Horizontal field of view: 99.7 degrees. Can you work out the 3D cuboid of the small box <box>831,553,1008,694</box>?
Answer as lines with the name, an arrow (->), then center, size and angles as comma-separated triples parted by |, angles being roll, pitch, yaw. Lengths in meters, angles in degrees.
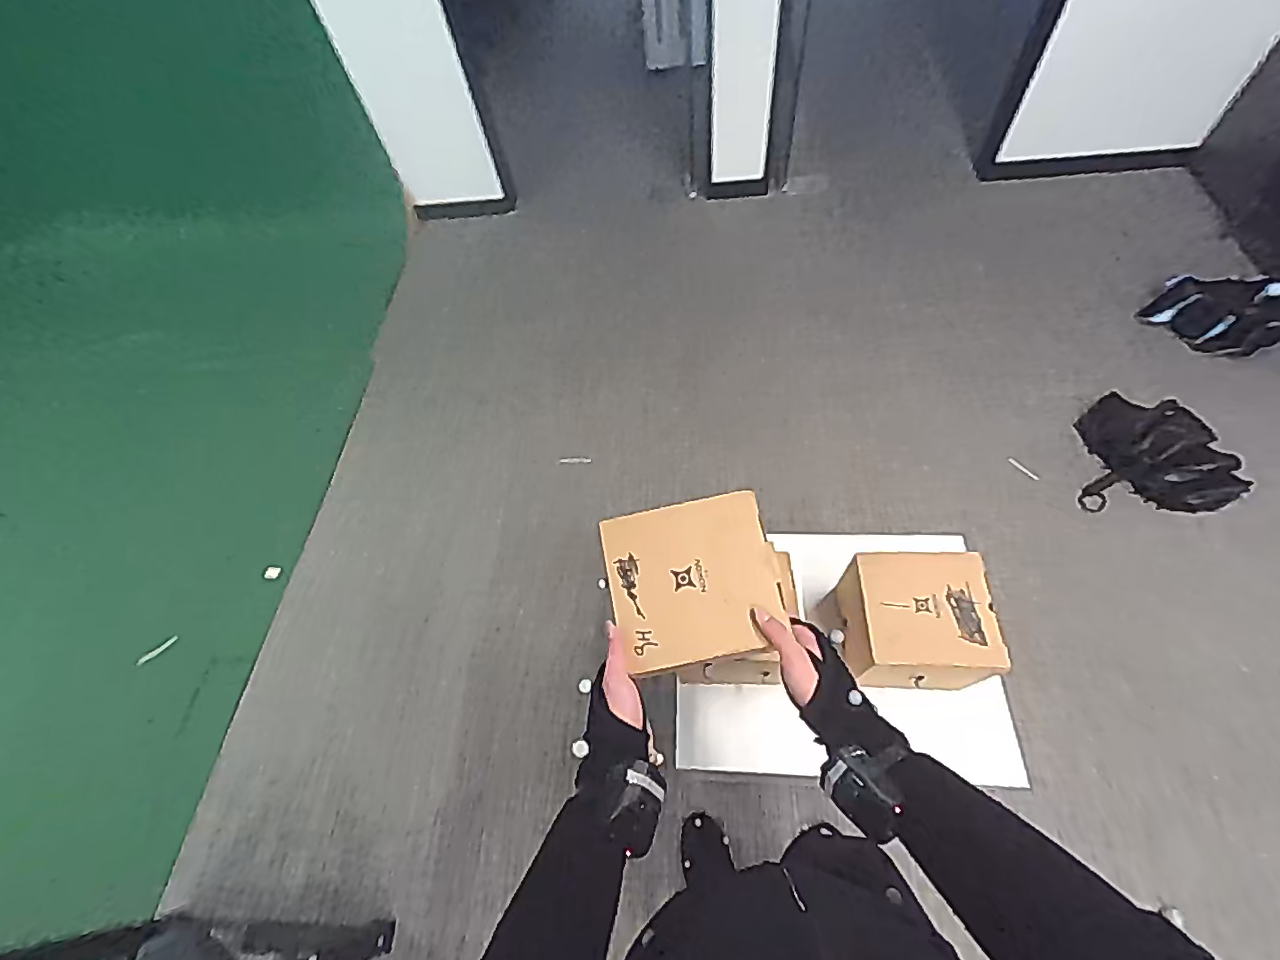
small box -> 0.404, 0.220, 0.817 | 0.179, 0.176, 0.168 | 1, 59, 6

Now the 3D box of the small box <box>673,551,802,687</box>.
small box -> 0.139, 0.218, 0.841 | 0.179, 0.176, 0.168 | -1, 57, 4

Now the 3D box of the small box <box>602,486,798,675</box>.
small box -> 0.059, 0.124, 0.626 | 0.179, 0.176, 0.168 | -11, 67, -1
